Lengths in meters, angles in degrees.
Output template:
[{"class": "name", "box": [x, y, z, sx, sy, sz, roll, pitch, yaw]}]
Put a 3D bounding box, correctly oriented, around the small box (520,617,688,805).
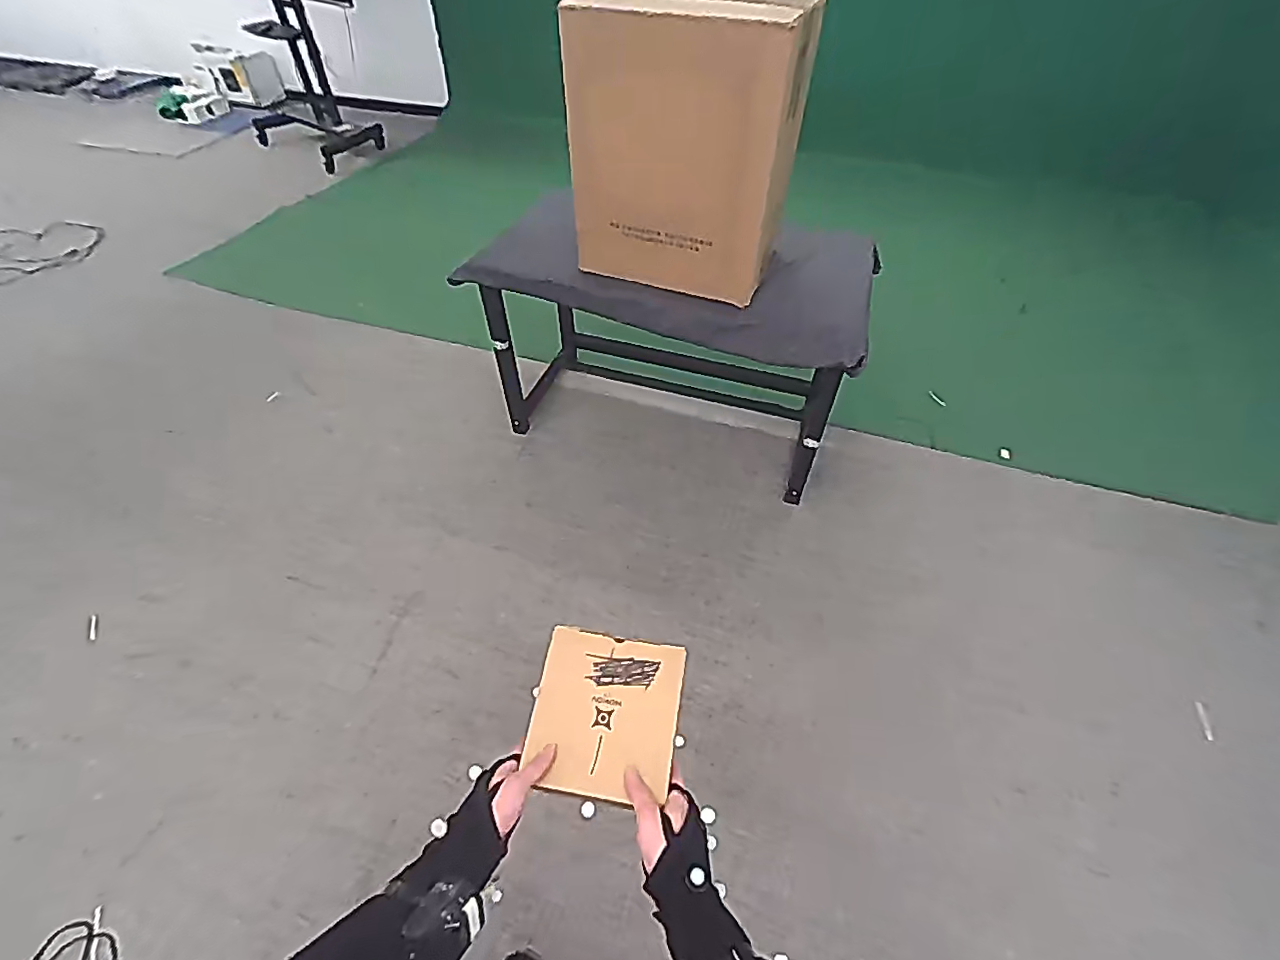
[{"class": "small box", "box": [-0.039, 0.299, 0.690, 0.168, 0.176, 0.179, 10, 58, 4]}]
